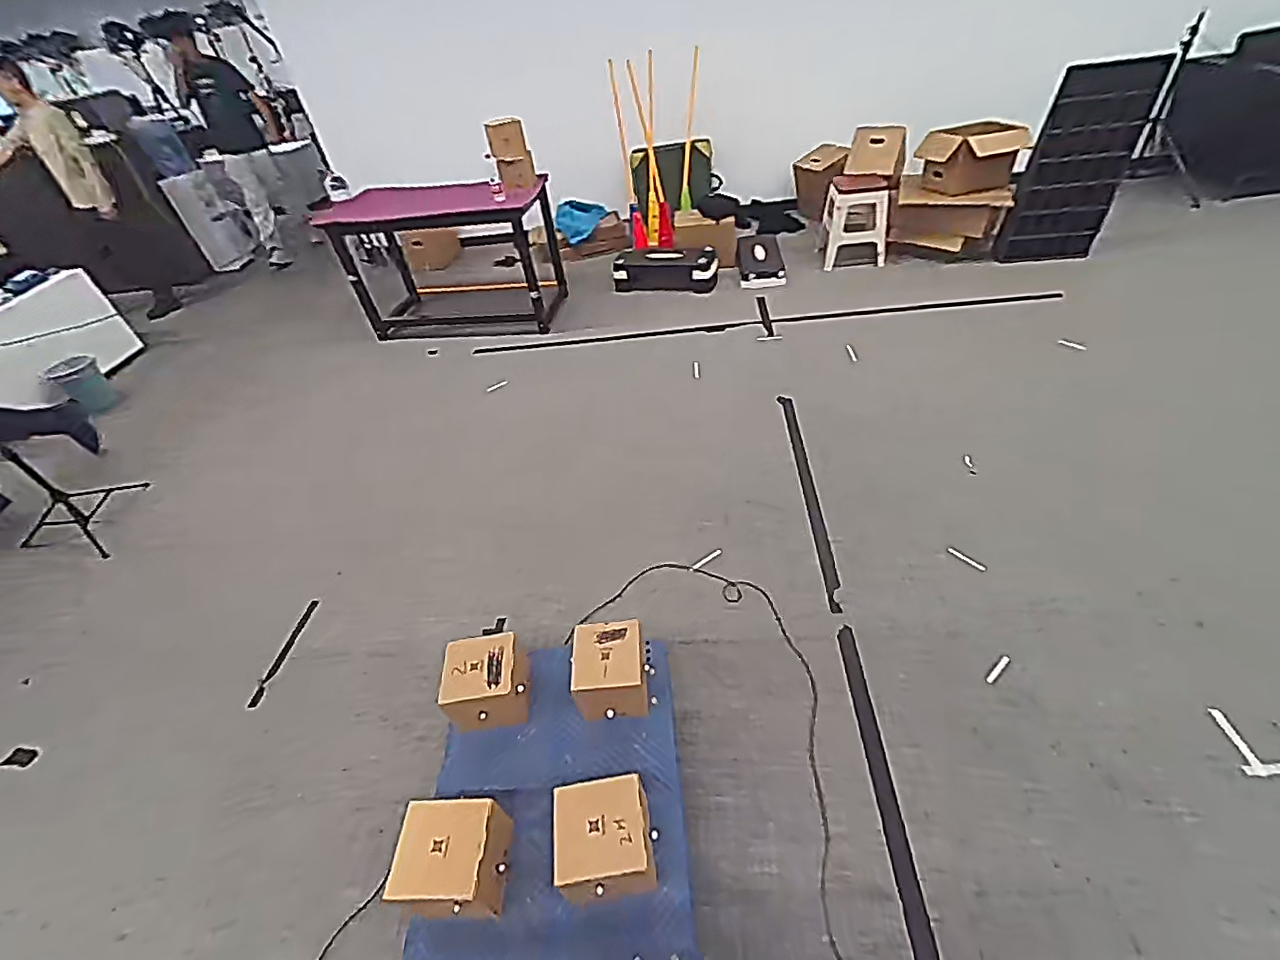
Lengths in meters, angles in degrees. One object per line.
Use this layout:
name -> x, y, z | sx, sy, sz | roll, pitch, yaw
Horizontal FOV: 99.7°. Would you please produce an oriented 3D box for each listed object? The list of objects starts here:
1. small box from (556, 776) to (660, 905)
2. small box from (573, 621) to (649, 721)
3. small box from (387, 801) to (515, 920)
small box -> -0.064, 0.726, 1.085 | 0.179, 0.176, 0.168 | -10, 42, 0
small box -> -0.068, 0.480, 1.355 | 0.168, 0.176, 0.179 | -6, 43, 3
small box -> -0.370, 0.771, 1.093 | 0.179, 0.176, 0.168 | -5, 42, 3
